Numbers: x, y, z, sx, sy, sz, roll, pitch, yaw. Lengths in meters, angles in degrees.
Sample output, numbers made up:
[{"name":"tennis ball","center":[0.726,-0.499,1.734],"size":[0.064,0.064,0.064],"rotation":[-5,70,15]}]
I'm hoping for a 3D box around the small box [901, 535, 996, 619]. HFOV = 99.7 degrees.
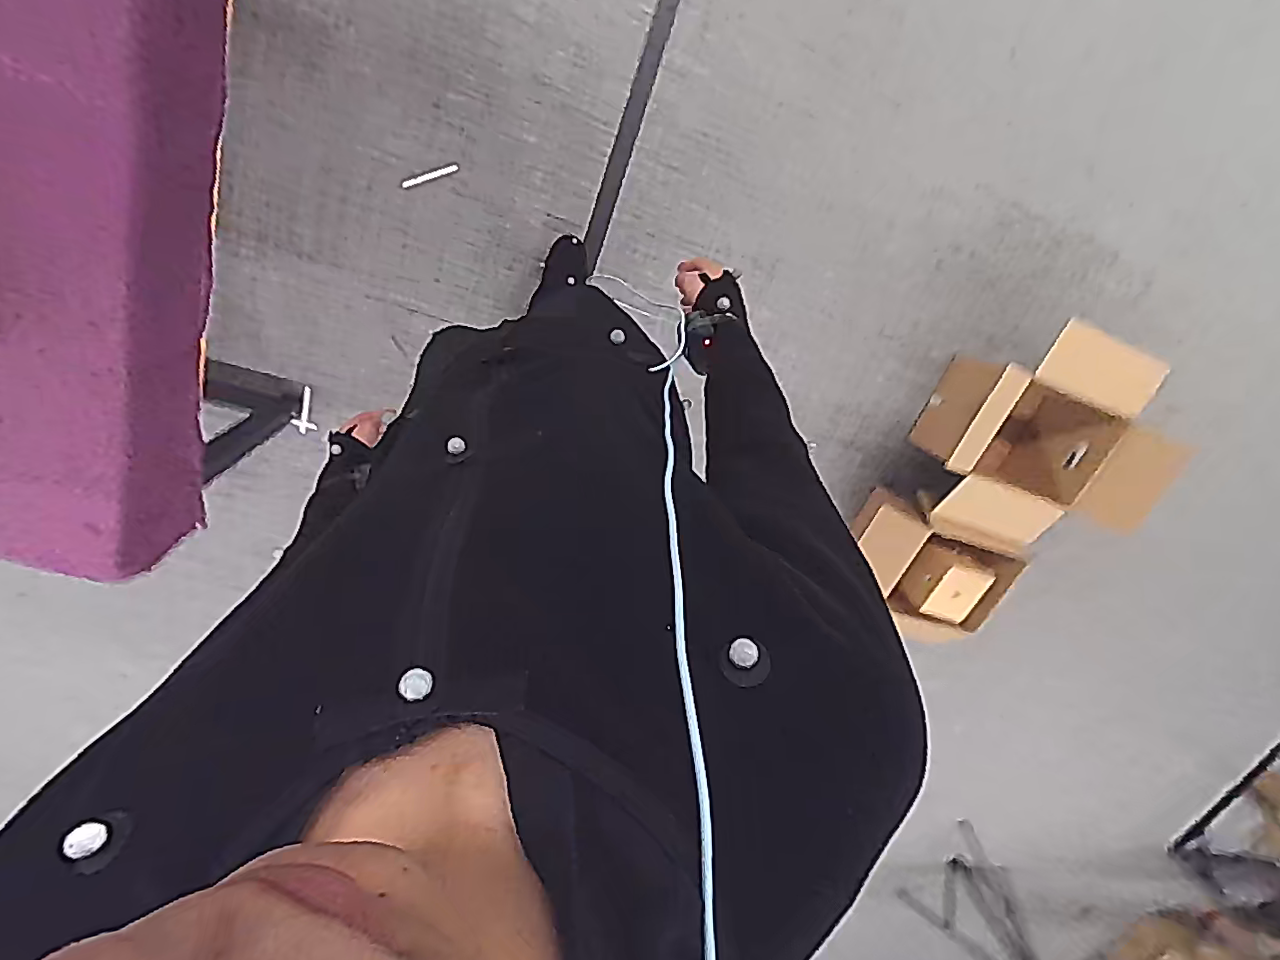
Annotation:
[{"name":"small box","center":[0.966,0.305,1.719],"size":[0.168,0.176,0.179],"rotation":[18,111,-14]}]
